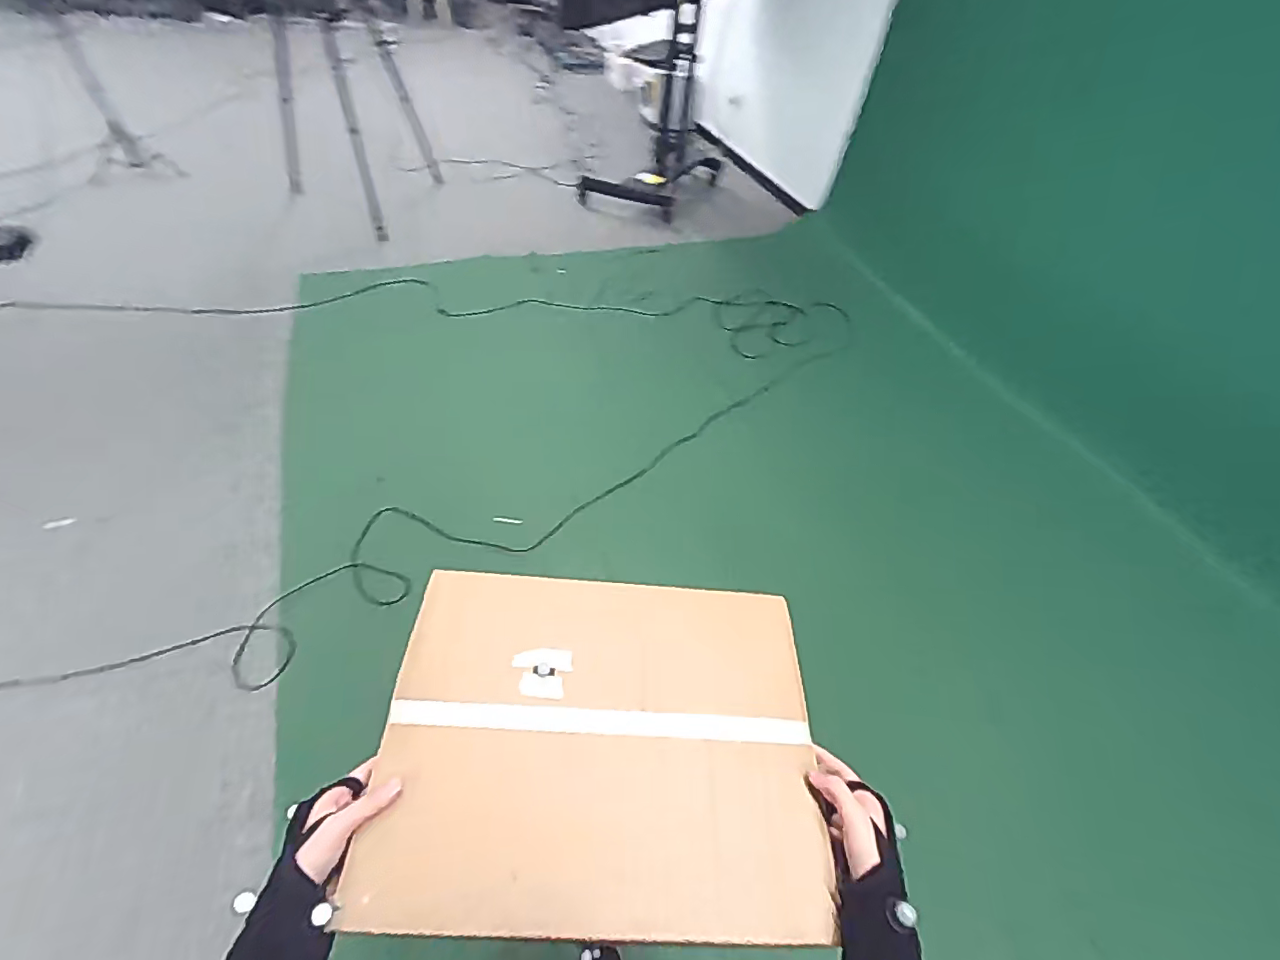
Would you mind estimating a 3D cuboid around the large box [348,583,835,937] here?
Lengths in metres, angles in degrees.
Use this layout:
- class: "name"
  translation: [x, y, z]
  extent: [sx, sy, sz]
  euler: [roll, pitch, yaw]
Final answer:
- class: "large box"
  translation: [-0.045, 0.340, 0.645]
  extent: [0.408, 0.320, 0.320]
  euler: [4, 49, -4]
